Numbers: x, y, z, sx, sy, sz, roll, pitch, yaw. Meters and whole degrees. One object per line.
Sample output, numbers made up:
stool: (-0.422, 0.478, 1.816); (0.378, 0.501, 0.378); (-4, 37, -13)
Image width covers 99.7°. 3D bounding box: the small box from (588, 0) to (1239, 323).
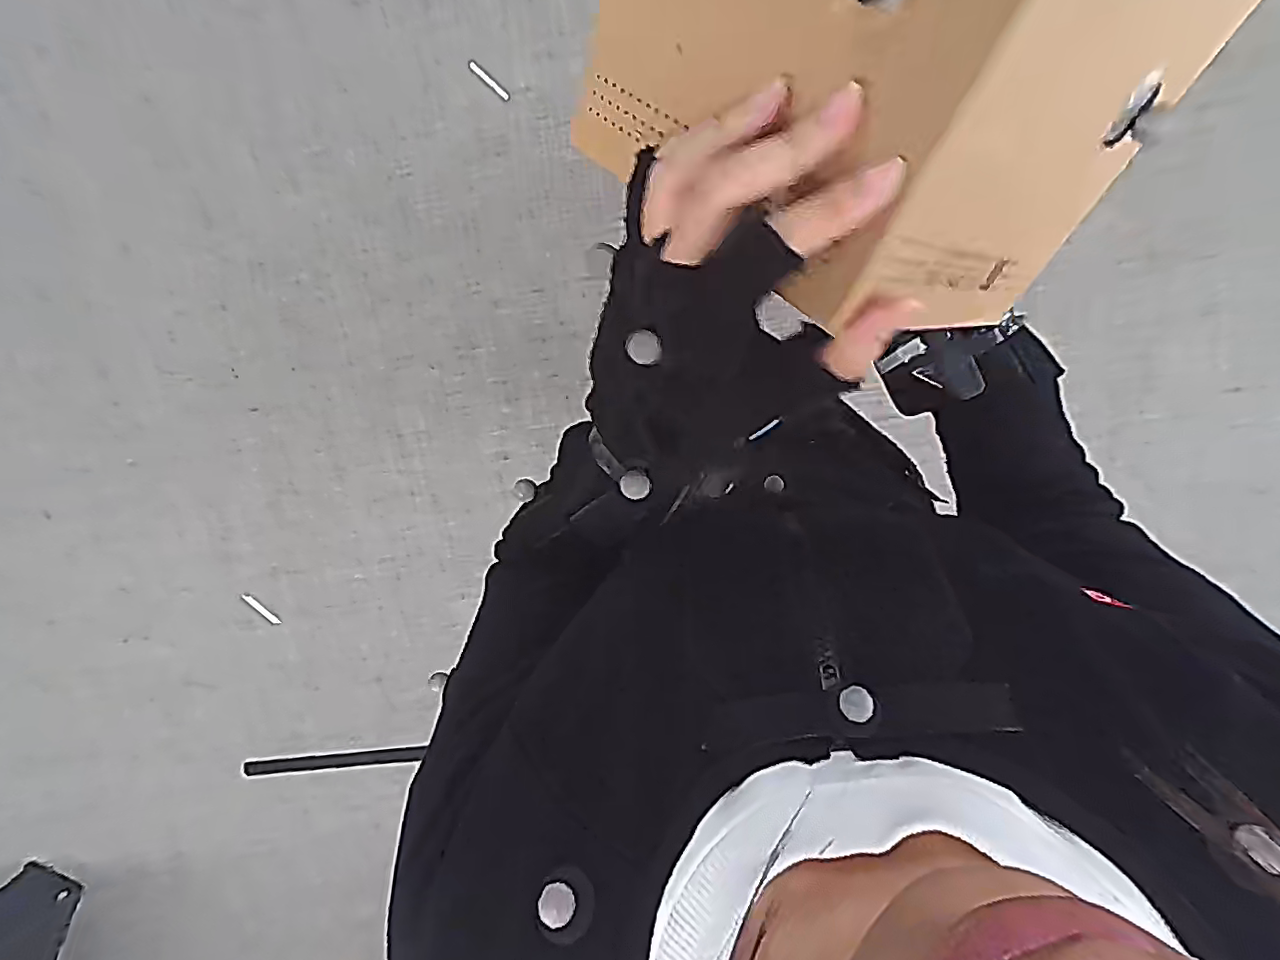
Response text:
small box: (0.102, -0.181, 0.228); (0.179, 0.168, 0.176); (51, 135, 31)
